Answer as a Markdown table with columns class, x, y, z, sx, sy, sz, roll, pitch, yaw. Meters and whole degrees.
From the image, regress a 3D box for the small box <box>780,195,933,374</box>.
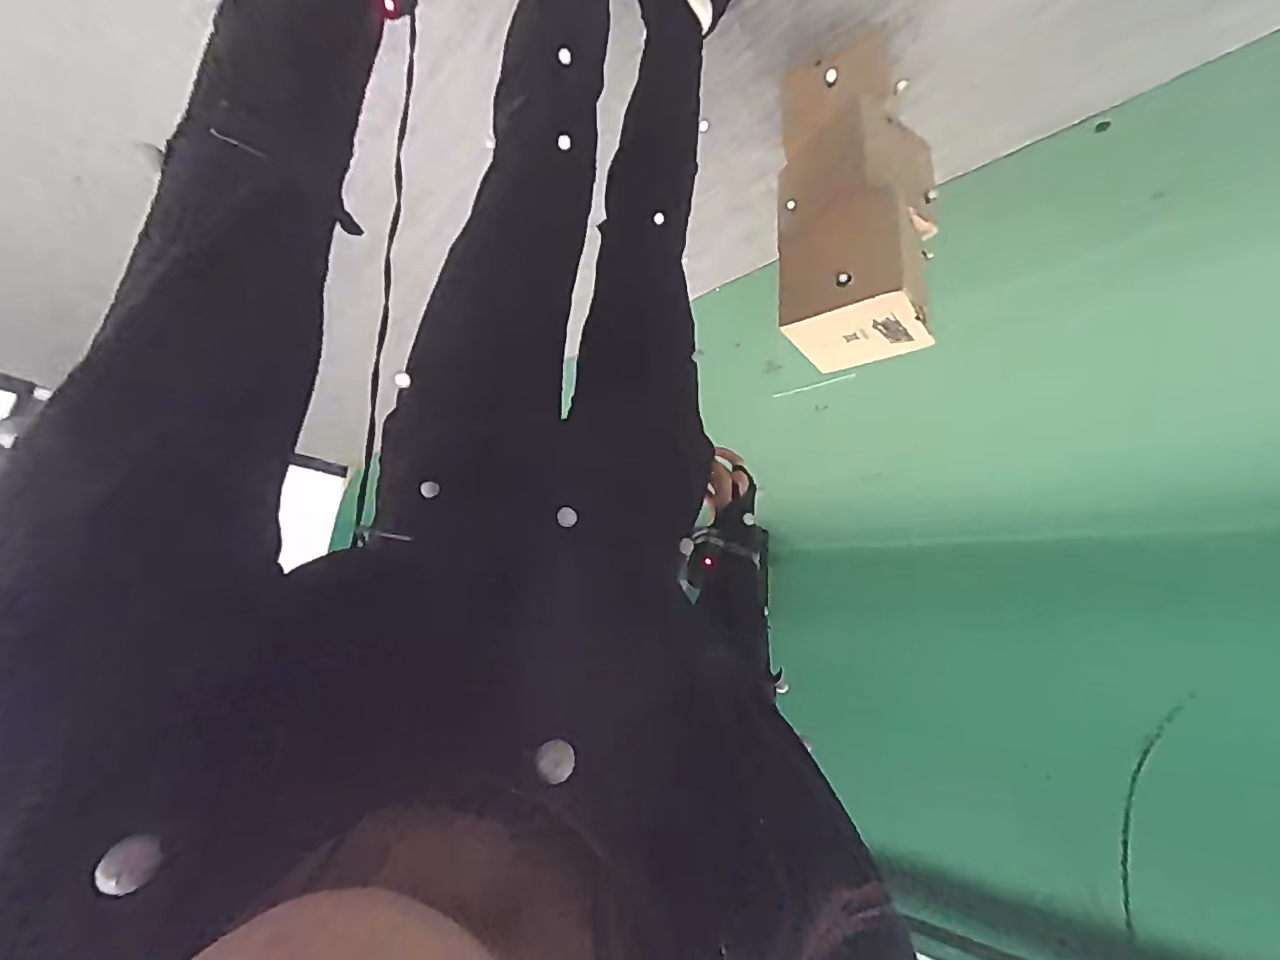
| class | x | y | z | sx | sy | sz | roll | pitch | yaw |
| --- | --- | --- | --- | --- | --- | --- | --- | --- | --- |
| small box | 0.325 | -0.288 | 0.822 | 0.179 | 0.176 | 0.168 | -9 | 159 | 39 |

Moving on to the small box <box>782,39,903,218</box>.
| class | x | y | z | sx | sy | sz | roll | pitch | yaw |
| --- | --- | --- | --- | --- | --- | --- | --- | --- | --- |
| small box | 0.346 | -0.600 | 0.927 | 0.168 | 0.176 | 0.179 | -6 | 159 | 31 |
